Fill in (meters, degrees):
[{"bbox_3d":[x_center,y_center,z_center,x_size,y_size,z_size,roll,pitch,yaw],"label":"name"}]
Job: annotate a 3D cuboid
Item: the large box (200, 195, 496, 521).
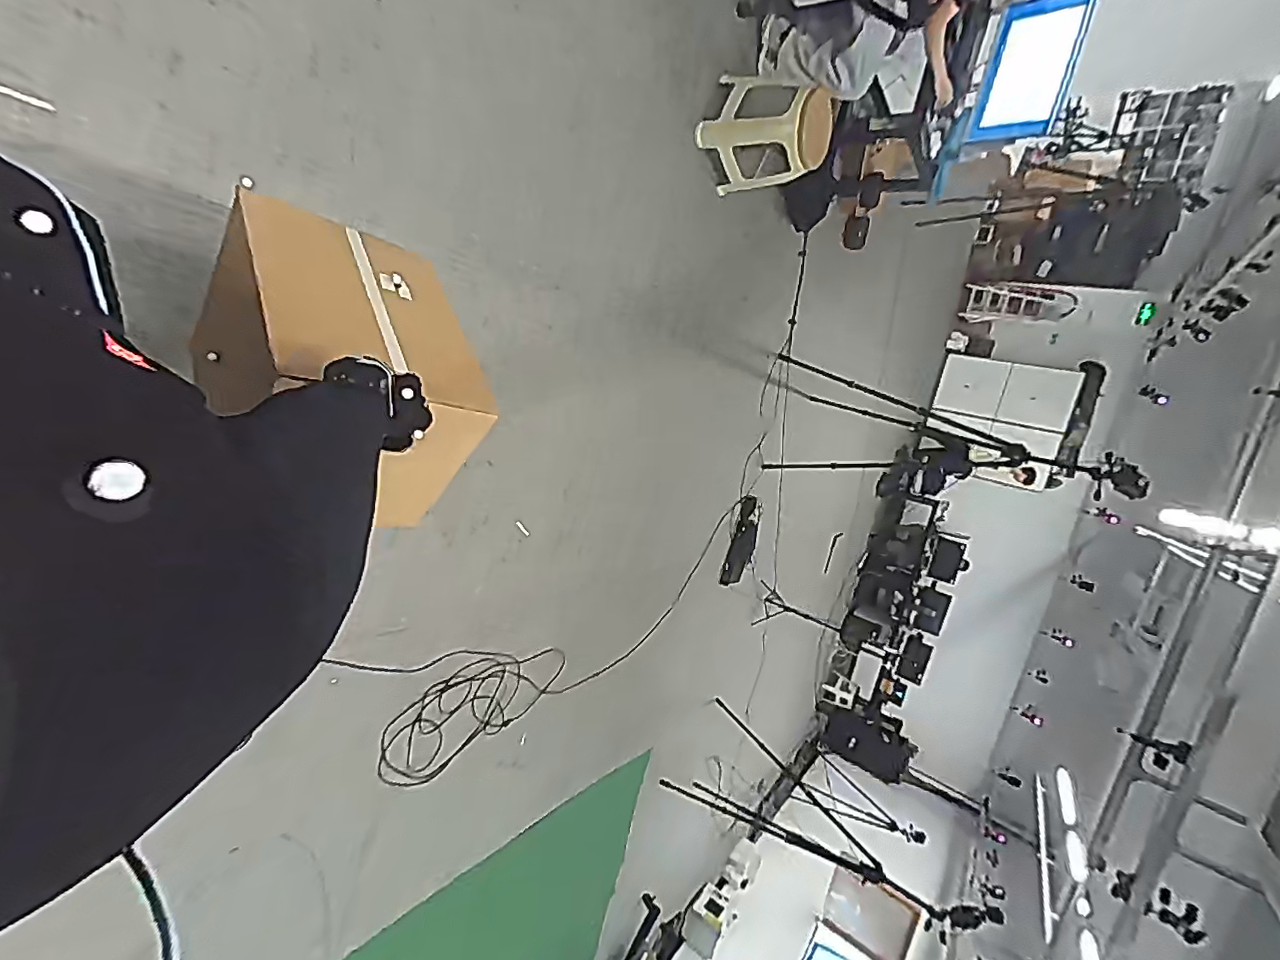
[{"bbox_3d":[-0.510,-0.177,0.920,0.320,0.408,0.320,6,137,-50],"label":"large box"}]
